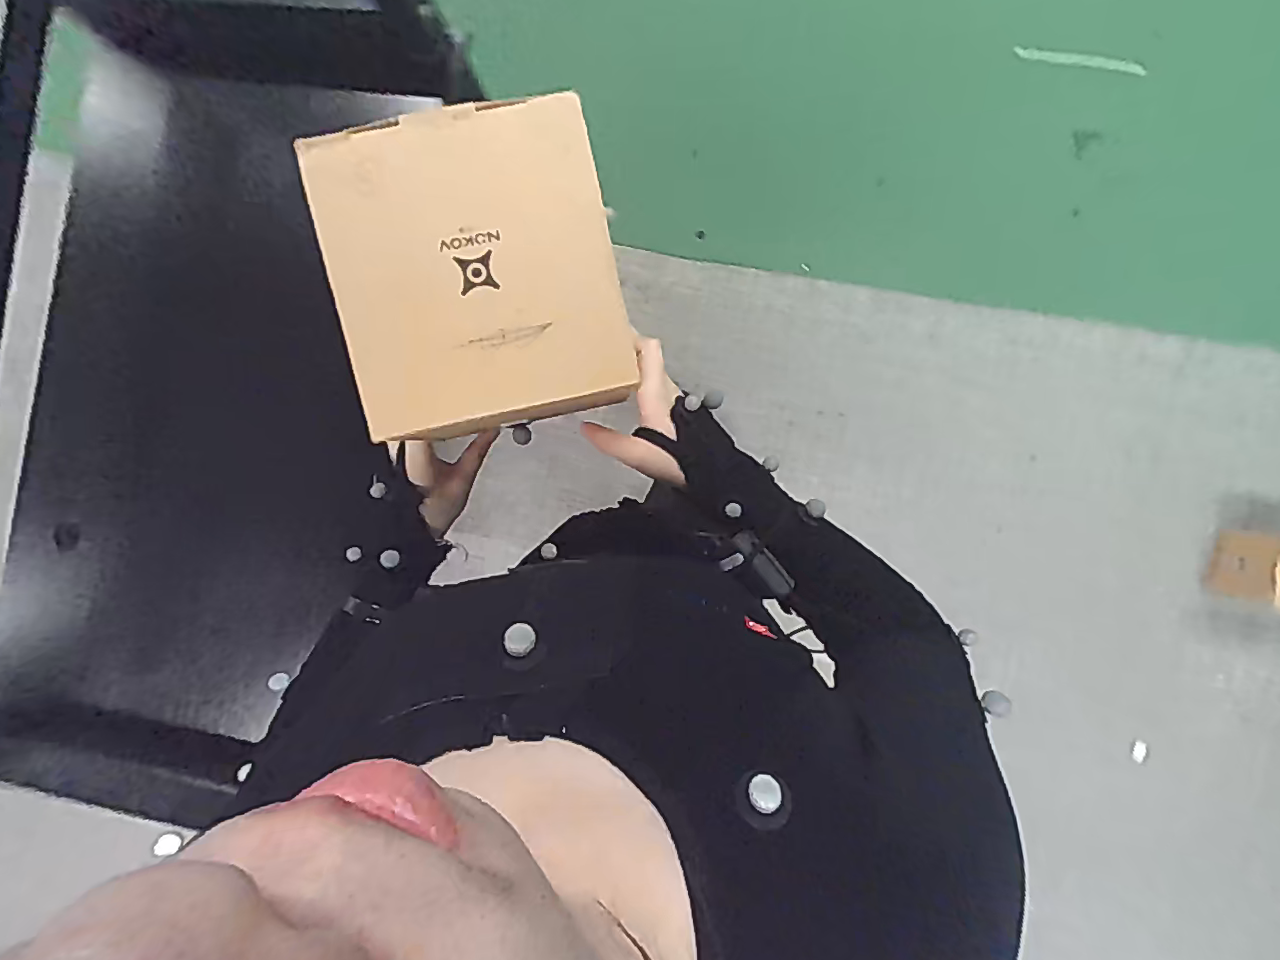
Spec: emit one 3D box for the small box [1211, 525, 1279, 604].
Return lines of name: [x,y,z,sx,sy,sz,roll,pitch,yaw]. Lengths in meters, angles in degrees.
small box: [1.506,0.205,1.254,0.179,0.176,0.168,15,92,6]
